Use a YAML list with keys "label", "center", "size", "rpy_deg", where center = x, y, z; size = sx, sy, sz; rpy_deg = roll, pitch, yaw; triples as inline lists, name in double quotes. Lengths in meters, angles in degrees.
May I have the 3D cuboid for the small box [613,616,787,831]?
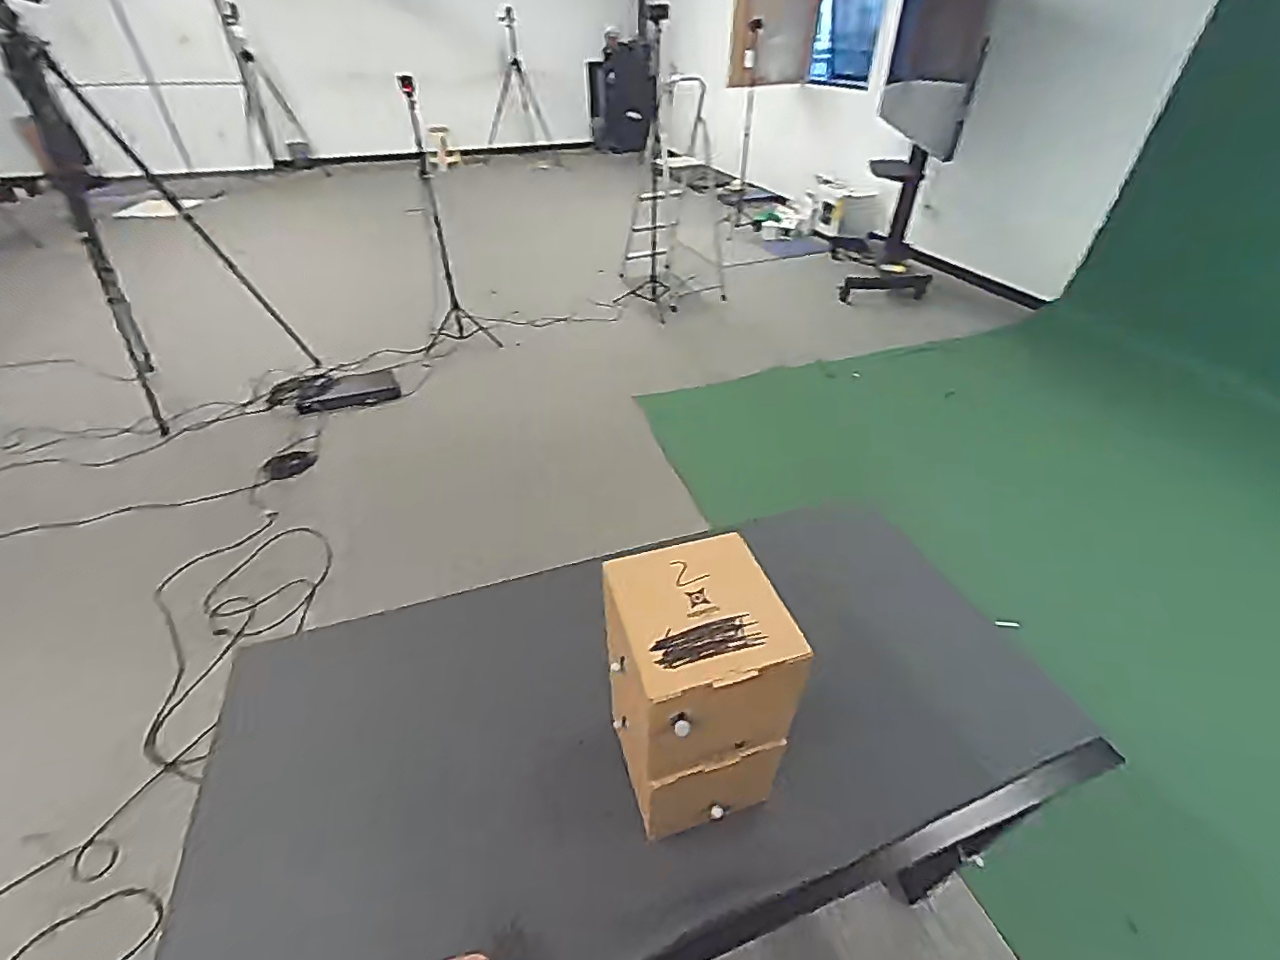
- label: "small box"
  center: [0.065, 0.314, 0.706]
  size: [0.168, 0.176, 0.179]
  rpy_deg: [-12, 41, -13]
